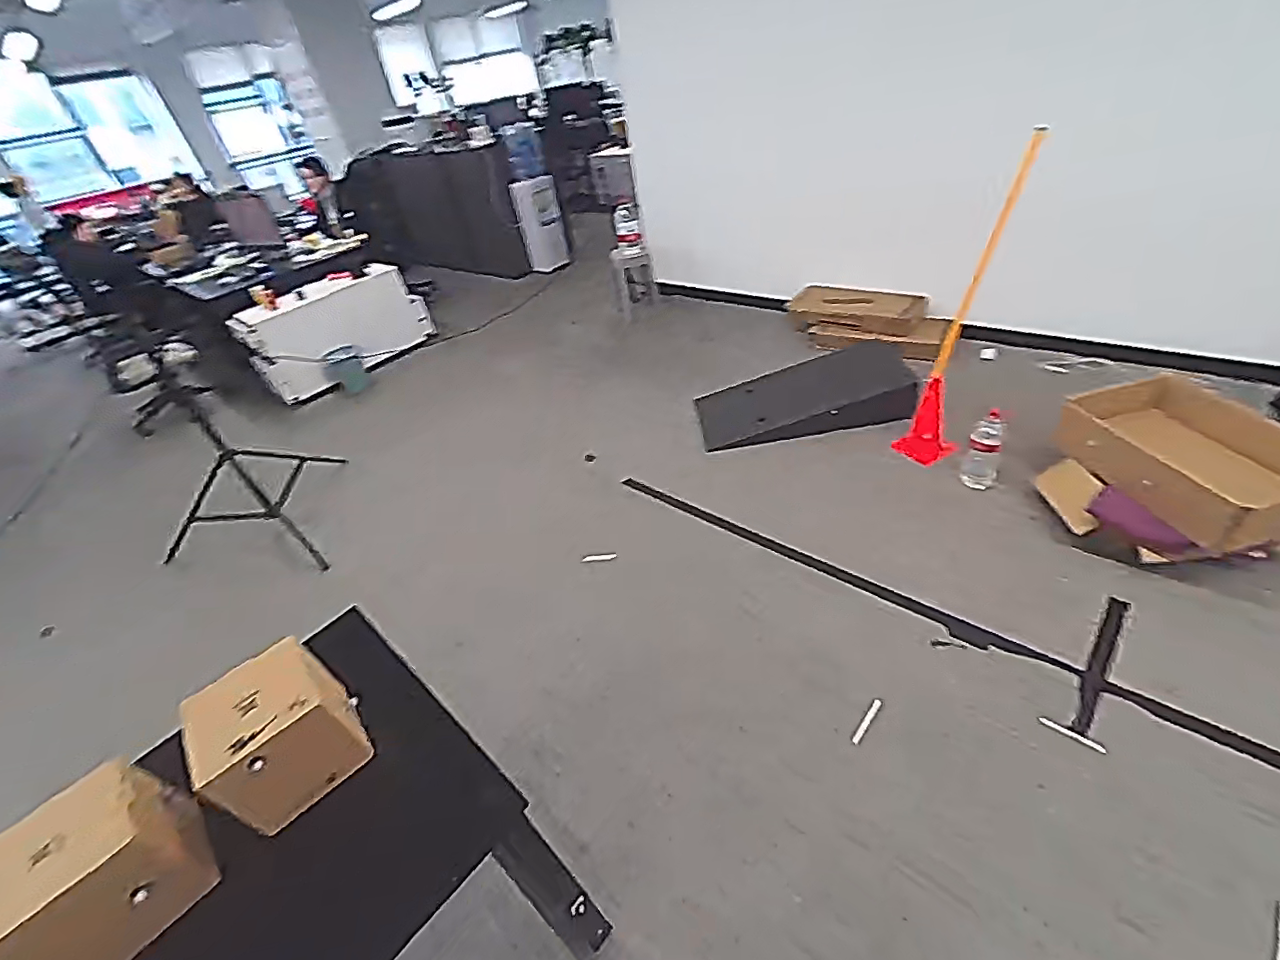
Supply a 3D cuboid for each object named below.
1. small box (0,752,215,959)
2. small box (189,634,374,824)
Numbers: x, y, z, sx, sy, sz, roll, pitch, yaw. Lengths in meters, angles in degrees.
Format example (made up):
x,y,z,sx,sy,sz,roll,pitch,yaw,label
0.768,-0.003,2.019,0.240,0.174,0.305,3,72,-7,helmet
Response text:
x,y,z,sx,sy,sz,roll,pitch,yaw,label
-0.714,0.517,0.721,0.168,0.176,0.179,23,50,38,small box
-0.551,0.385,0.841,0.168,0.176,0.179,-35,43,-26,small box
